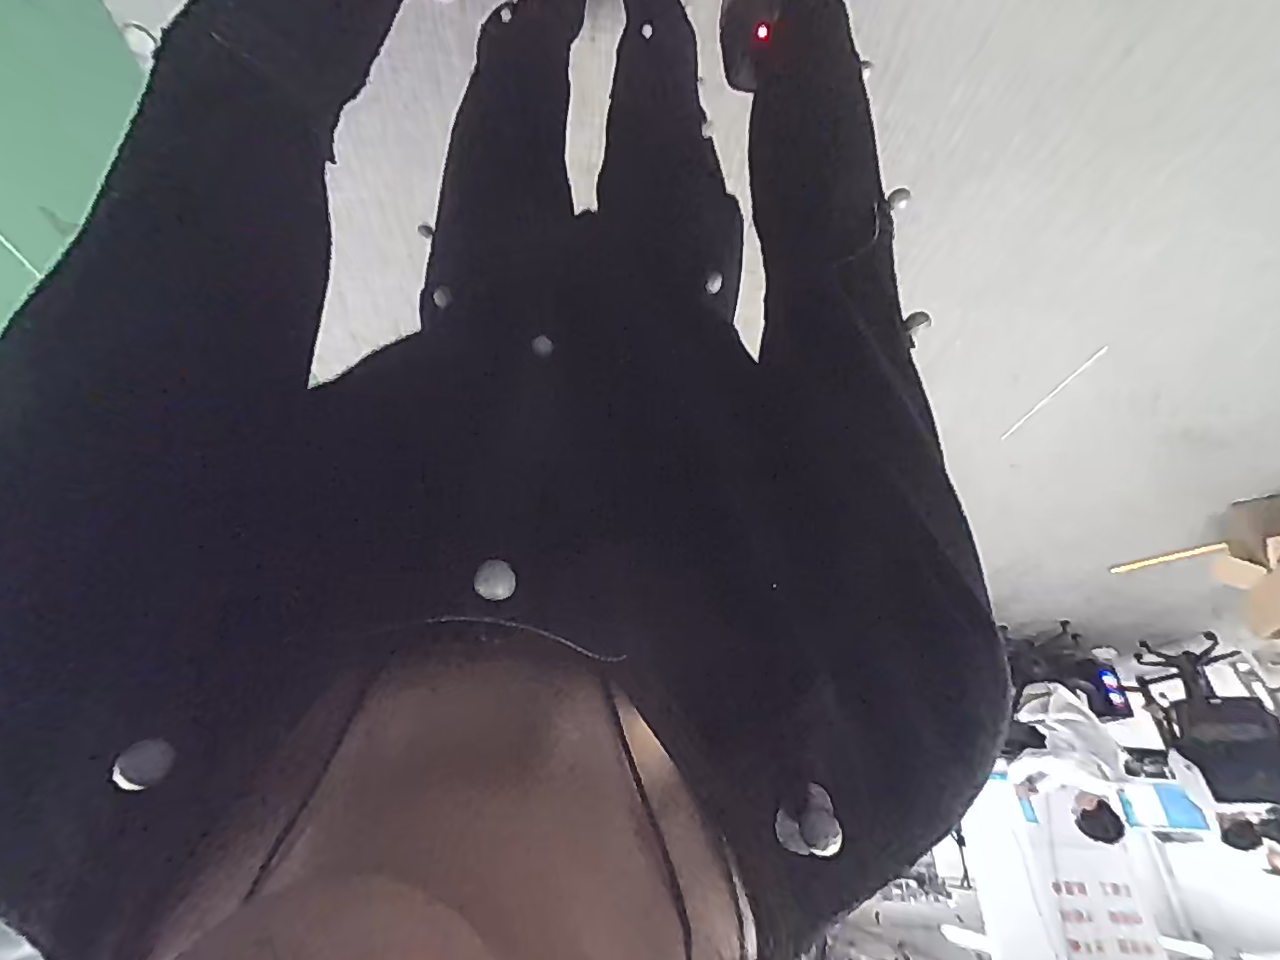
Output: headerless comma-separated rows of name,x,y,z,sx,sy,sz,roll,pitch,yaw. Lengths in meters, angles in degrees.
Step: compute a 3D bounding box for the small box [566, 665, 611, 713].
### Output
small box,-0.217,0.890,2.297,0.179,0.176,0.168,4,147,-2
